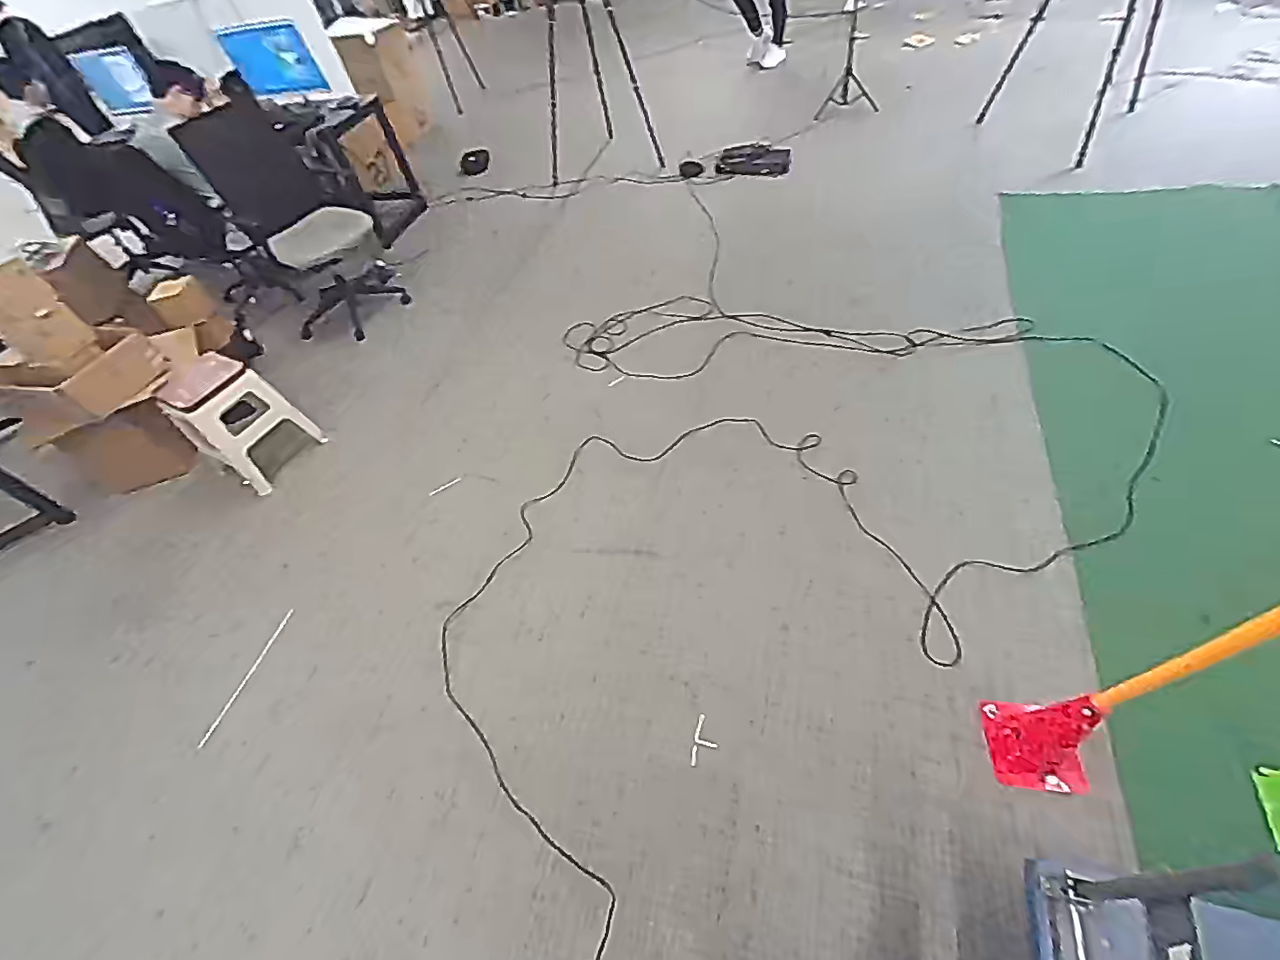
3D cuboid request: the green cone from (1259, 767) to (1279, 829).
[{"bbox_3d":[1.454,0.632,1.024,0.202,0.368,0.200,7,53,16],"label":"green cone"}]
